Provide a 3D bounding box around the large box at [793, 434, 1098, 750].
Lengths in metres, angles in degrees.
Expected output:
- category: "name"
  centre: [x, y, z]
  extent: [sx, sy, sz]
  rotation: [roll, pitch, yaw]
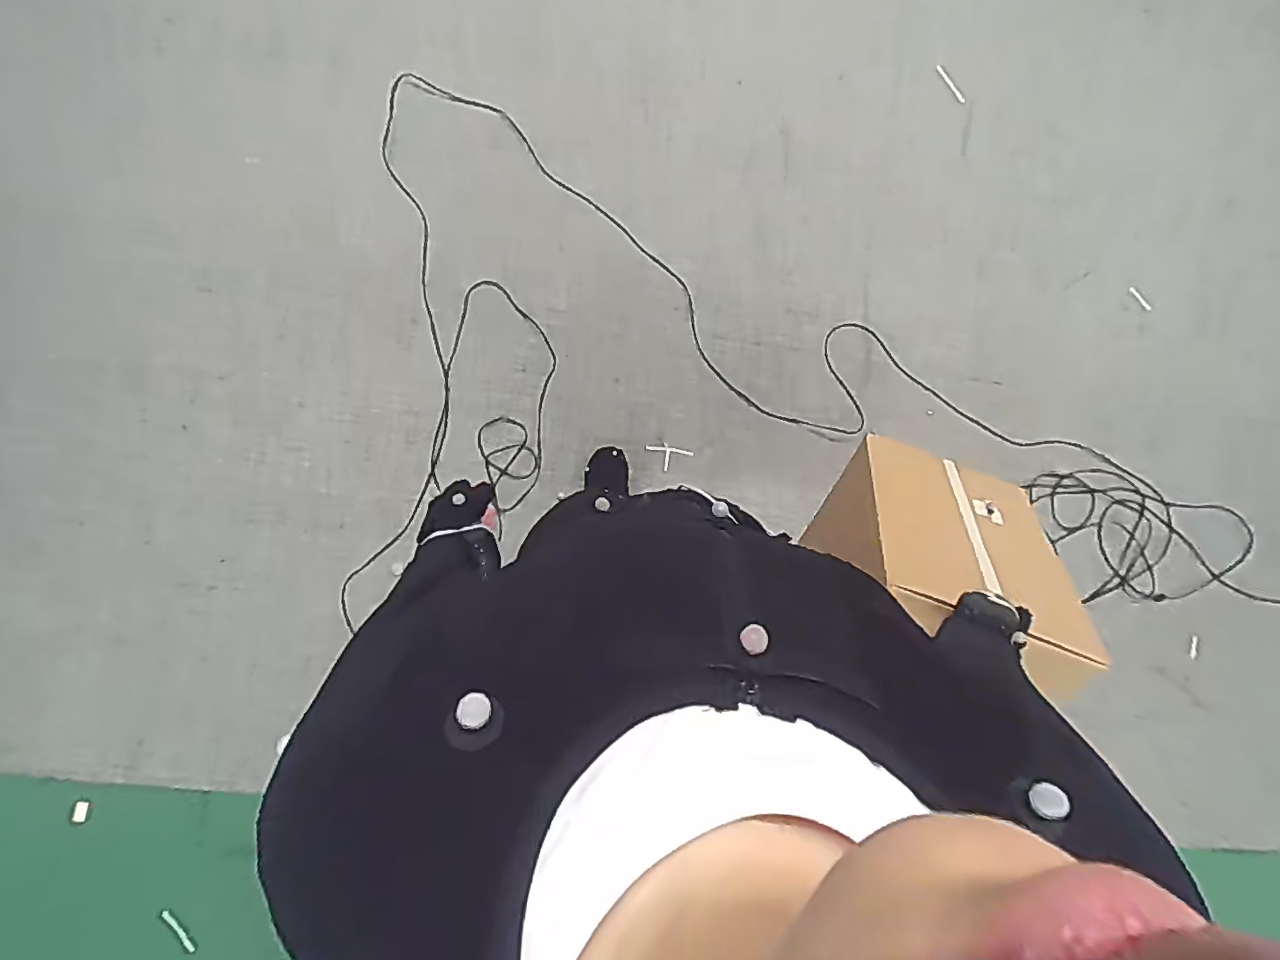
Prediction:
- category: "large box"
  centre: [0.483, 0.186, 0.973]
  extent: [0.320, 0.408, 0.320]
  rotation: [21, 128, 2]
